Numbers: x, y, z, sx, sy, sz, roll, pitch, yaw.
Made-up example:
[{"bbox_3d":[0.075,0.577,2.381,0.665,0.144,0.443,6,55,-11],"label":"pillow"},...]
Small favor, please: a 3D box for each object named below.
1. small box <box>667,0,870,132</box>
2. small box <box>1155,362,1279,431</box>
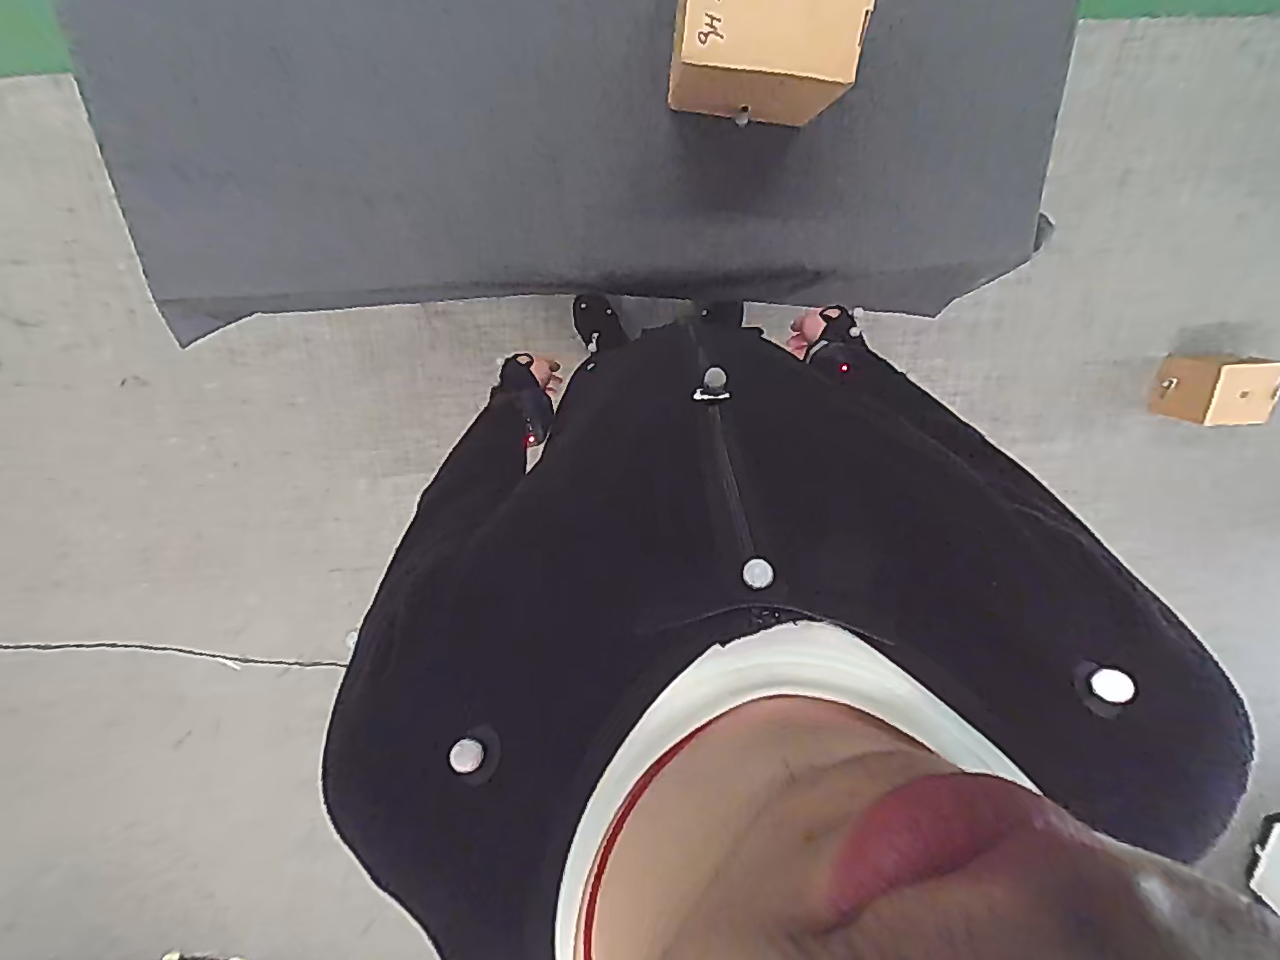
[{"bbox_3d":[0.131,-0.495,0.585,0.179,0.176,0.168,5,111,-4],"label":"small box"},{"bbox_3d":[1.594,-0.234,1.484,0.179,0.176,0.168,-1,109,-1],"label":"small box"}]
